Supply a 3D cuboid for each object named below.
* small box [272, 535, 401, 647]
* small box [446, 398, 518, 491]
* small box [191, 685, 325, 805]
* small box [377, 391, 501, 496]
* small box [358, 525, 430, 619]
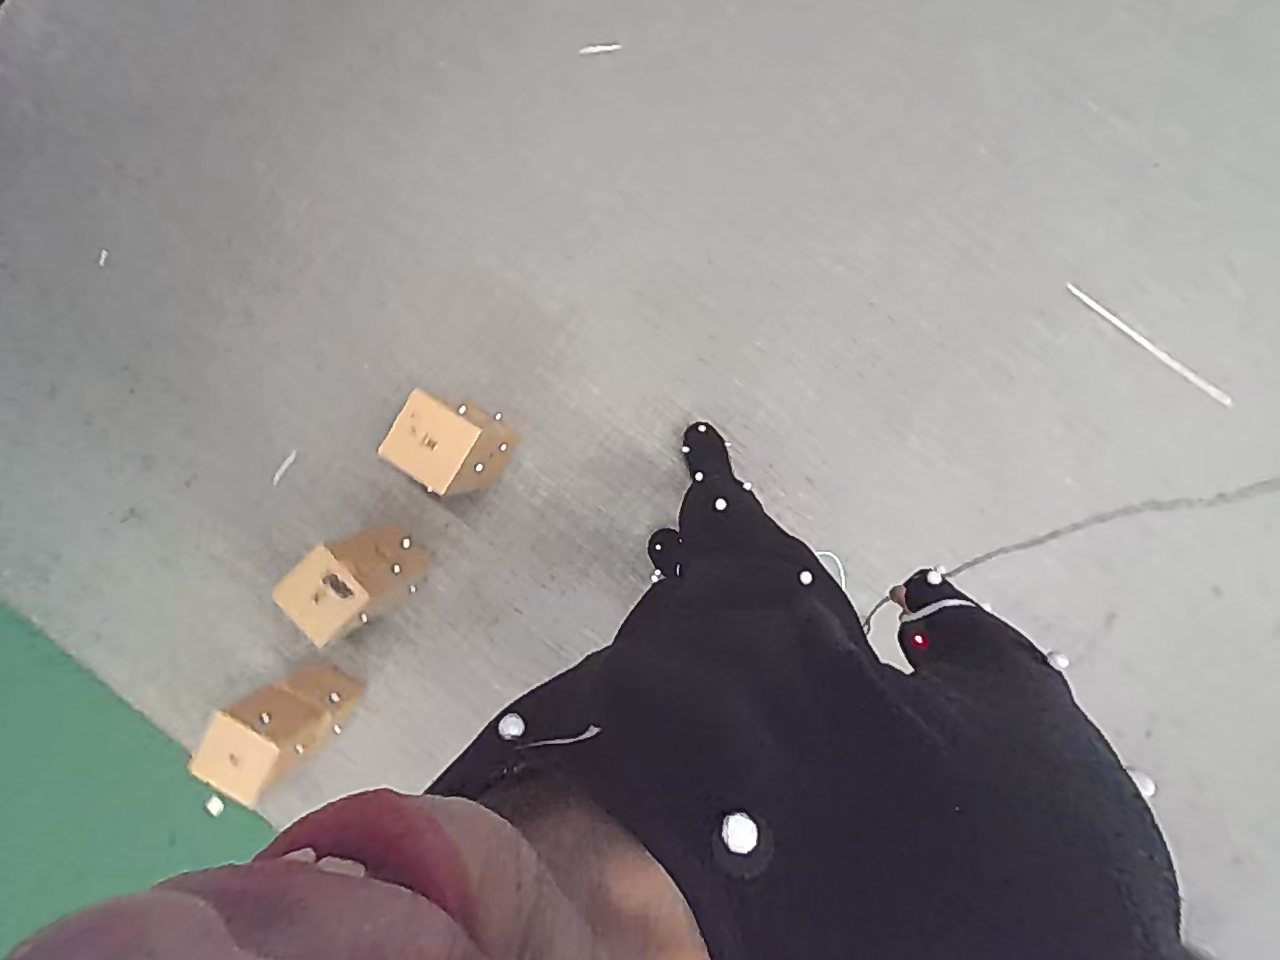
[{"bbox_3d":[-0.699,0.251,1.274,0.179,0.176,0.168,-44,88,7],"label":"small box"},{"bbox_3d":[-0.441,-0.090,1.402,0.168,0.176,0.179,33,94,2],"label":"small box"},{"bbox_3d":[-0.914,0.631,1.312,0.179,0.176,0.168,28,94,4],"label":"small box"},{"bbox_3d":[-0.447,-0.083,1.237,0.179,0.176,0.168,33,94,3],"label":"small box"},{"bbox_3d":[-0.691,0.237,1.438,0.168,0.176,0.179,45,95,2],"label":"small box"}]
